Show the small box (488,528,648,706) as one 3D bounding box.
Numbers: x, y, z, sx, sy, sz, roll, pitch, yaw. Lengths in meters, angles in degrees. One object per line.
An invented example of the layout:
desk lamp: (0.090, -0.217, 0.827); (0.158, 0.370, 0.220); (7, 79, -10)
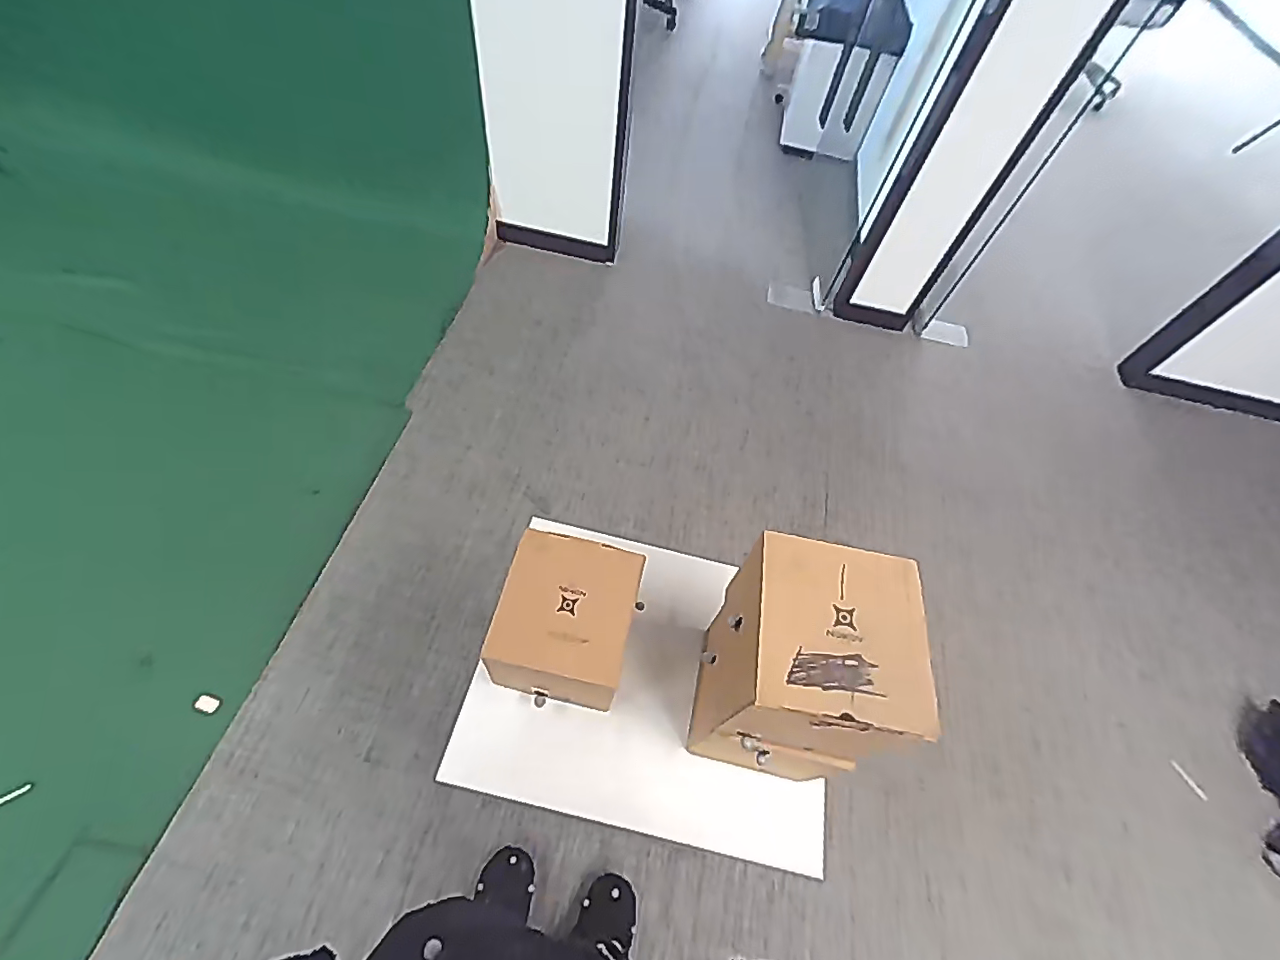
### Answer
small box: (-0.092, 0.192, 0.738); (0.168, 0.176, 0.179); (12, 59, 1)

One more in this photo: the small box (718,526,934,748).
small box: (0.184, 0.176, 0.583); (0.168, 0.176, 0.179); (11, 57, 1)

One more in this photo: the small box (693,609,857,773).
small box: (0.173, 0.270, 0.718); (0.168, 0.176, 0.179); (13, 57, 2)
